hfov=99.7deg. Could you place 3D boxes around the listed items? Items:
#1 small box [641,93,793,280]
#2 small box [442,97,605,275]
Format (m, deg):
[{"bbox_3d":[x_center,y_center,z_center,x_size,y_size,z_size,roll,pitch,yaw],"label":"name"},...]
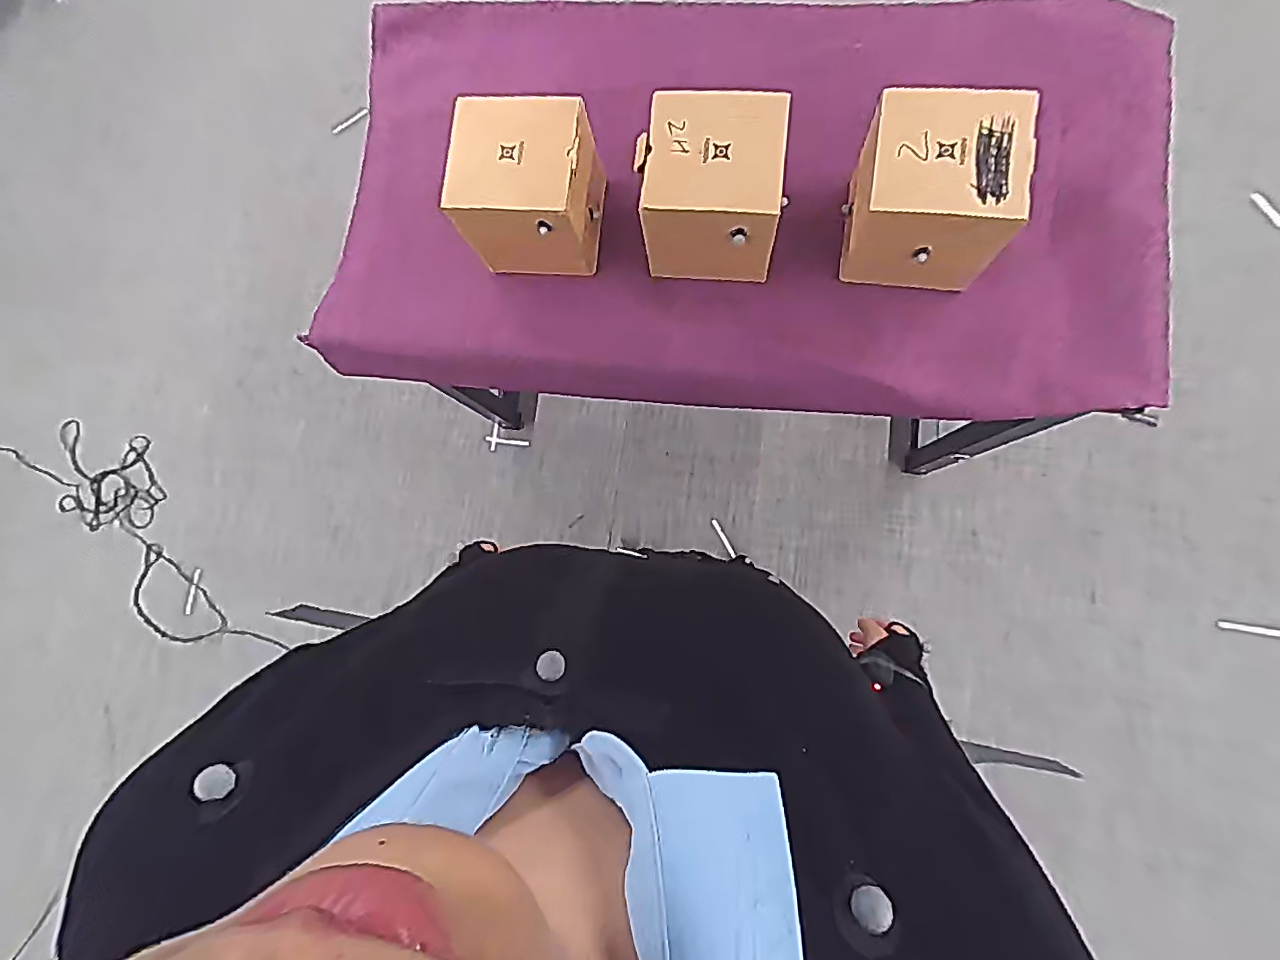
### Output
[{"bbox_3d":[0.105,-0.395,0.752,0.179,0.176,0.168,6,82,8],"label":"small box"},{"bbox_3d":[-0.158,-0.417,0.789,0.179,0.176,0.168,4,83,7],"label":"small box"}]
